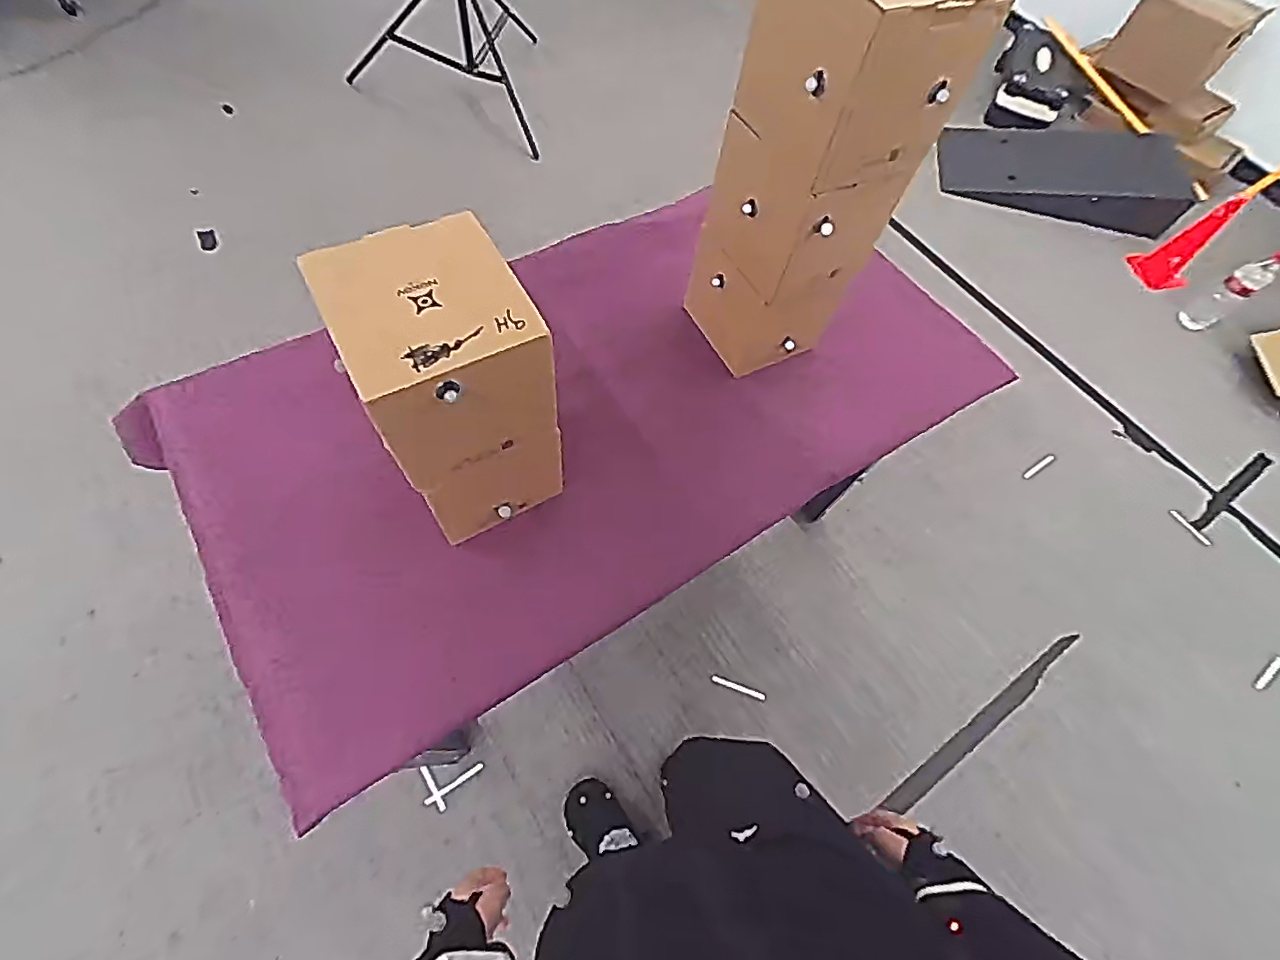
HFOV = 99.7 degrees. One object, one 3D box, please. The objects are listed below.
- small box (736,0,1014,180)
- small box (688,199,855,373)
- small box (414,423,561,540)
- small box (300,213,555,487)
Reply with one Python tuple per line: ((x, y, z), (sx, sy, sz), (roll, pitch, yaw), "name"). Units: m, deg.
((0.225, -0.442, 0.566), (0.168, 0.176, 0.179), (-21, 67, -17), "small box")
((0.194, -0.303, 0.860), (0.168, 0.176, 0.179), (-24, 68, -16), "small box")
((-0.213, -0.052, 0.689), (0.168, 0.176, 0.179), (-27, 70, -18), "small box")
((-0.197, -0.124, 0.542), (0.168, 0.176, 0.179), (-26, 69, -18), "small box")
